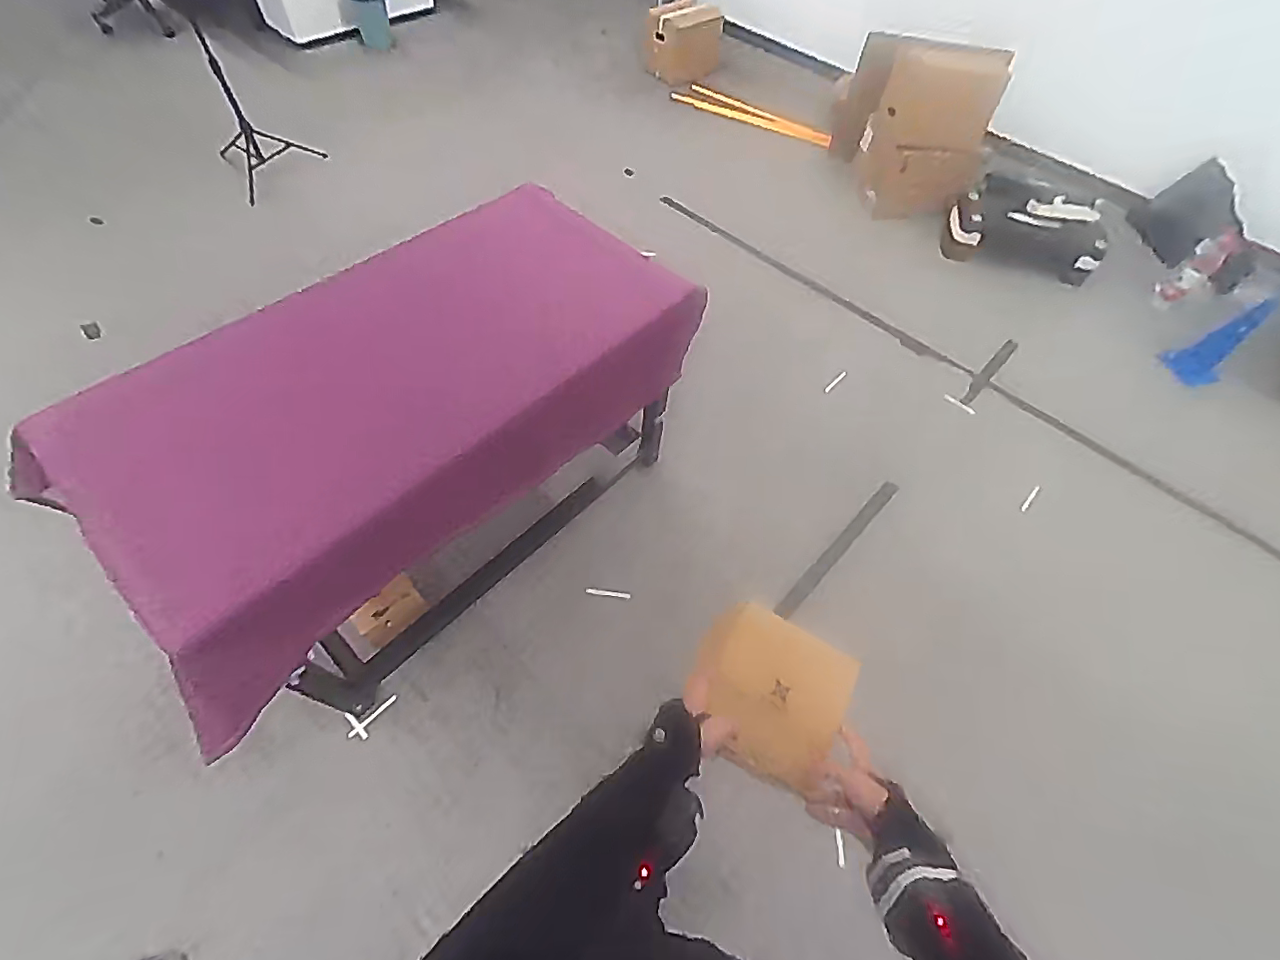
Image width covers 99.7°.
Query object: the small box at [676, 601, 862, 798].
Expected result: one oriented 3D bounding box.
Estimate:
[{"bbox_3d":[0.164,0.291,0.739,0.168,0.176,0.179,30,68,4],"label":"small box"}]
